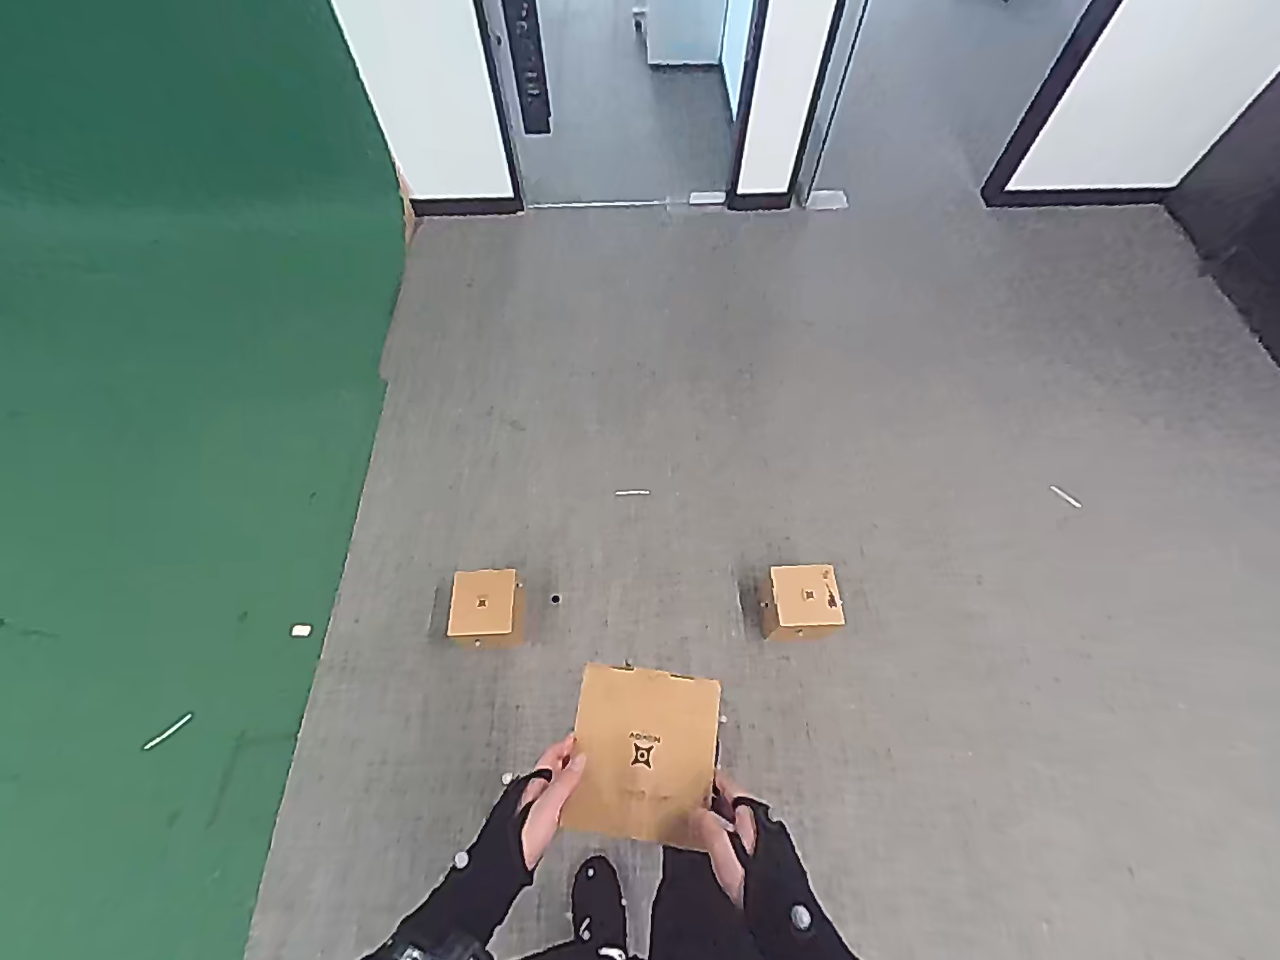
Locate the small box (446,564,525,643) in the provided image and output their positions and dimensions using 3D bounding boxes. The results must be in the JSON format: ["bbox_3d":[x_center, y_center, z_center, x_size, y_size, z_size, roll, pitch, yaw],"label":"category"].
[{"bbox_3d":[-0.414,0.343,1.477,0.168,0.176,0.179,-2,60,-2],"label":"small box"}]

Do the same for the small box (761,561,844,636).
[{"bbox_3d":[0.437,0.332,1.493,0.179,0.176,0.168,-1,62,-1],"label":"small box"}]

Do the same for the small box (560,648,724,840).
[{"bbox_3d":[0.010,0.318,0.680,0.168,0.176,0.179,6,70,7],"label":"small box"}]
